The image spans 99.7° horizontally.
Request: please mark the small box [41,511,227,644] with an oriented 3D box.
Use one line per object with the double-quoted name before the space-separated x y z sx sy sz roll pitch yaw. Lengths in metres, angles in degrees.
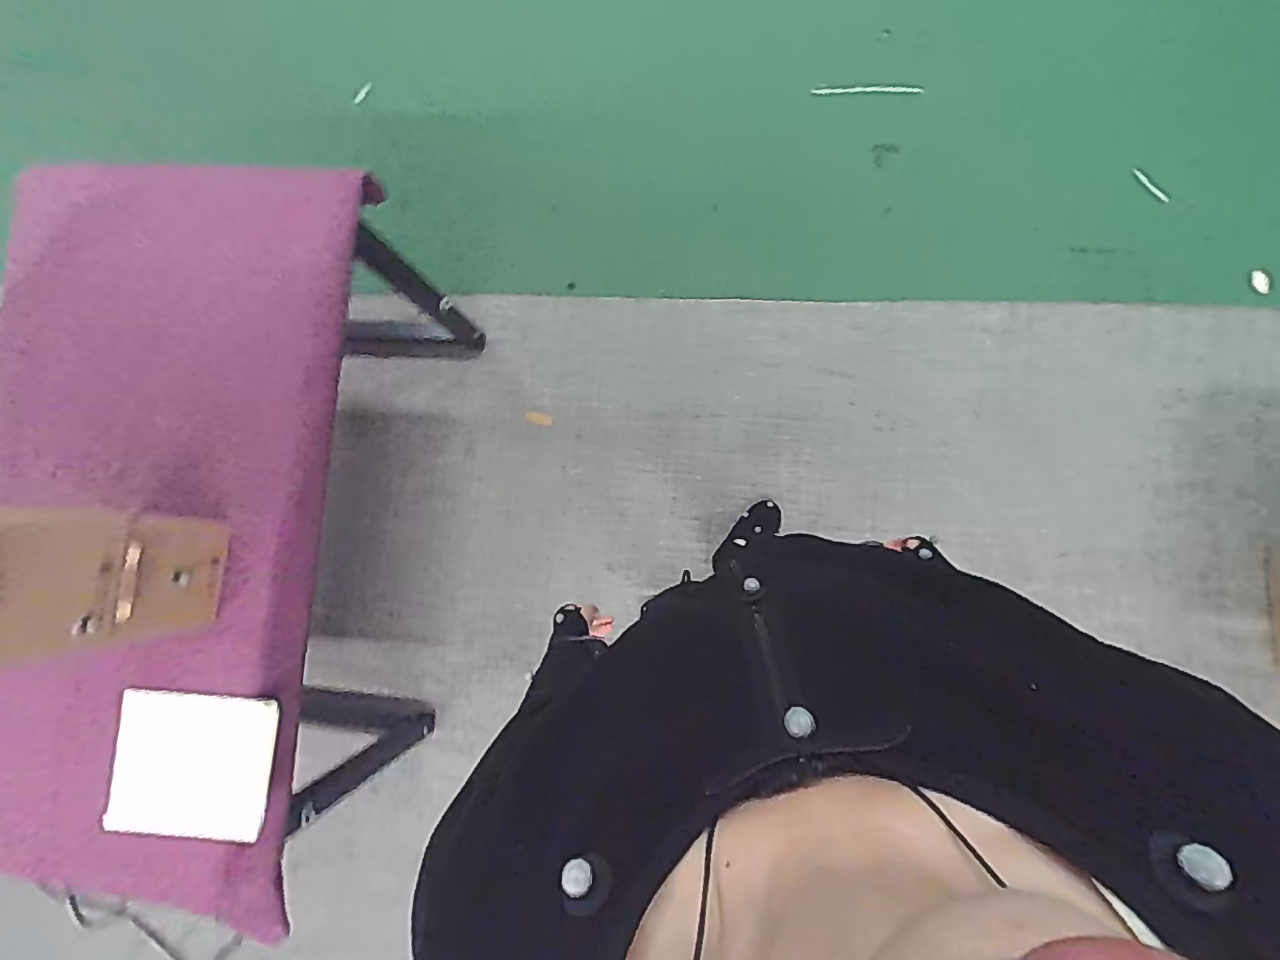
"small box" -0.771 0.137 0.810 0.179 0.176 0.168 5 84 6
